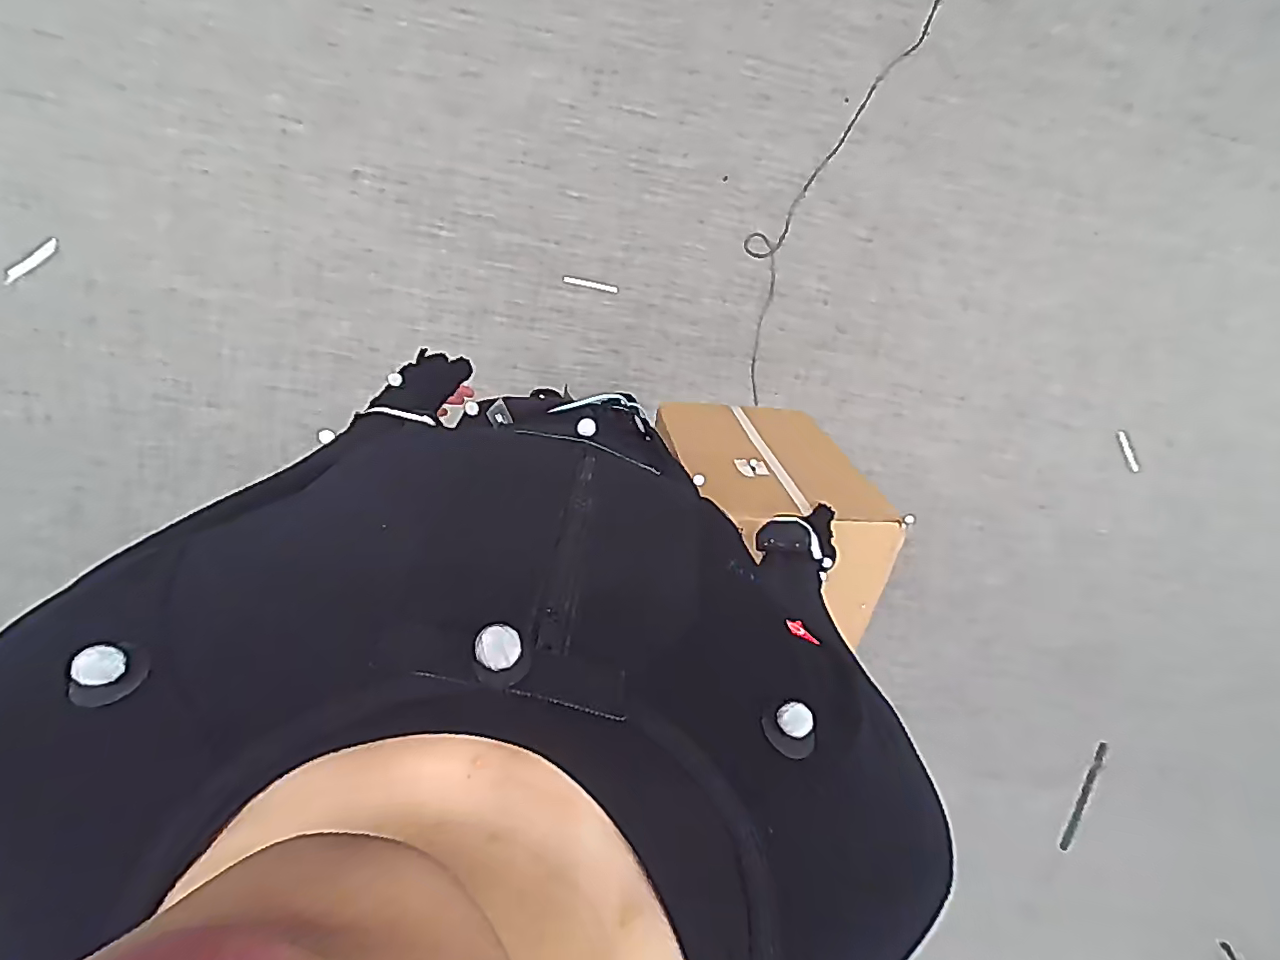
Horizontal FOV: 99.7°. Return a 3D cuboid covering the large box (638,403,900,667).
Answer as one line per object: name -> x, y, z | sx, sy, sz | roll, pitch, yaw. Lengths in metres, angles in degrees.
large box -> 0.188, 0.084, 1.006 | 0.320, 0.408, 0.320 | 1, 121, -9
